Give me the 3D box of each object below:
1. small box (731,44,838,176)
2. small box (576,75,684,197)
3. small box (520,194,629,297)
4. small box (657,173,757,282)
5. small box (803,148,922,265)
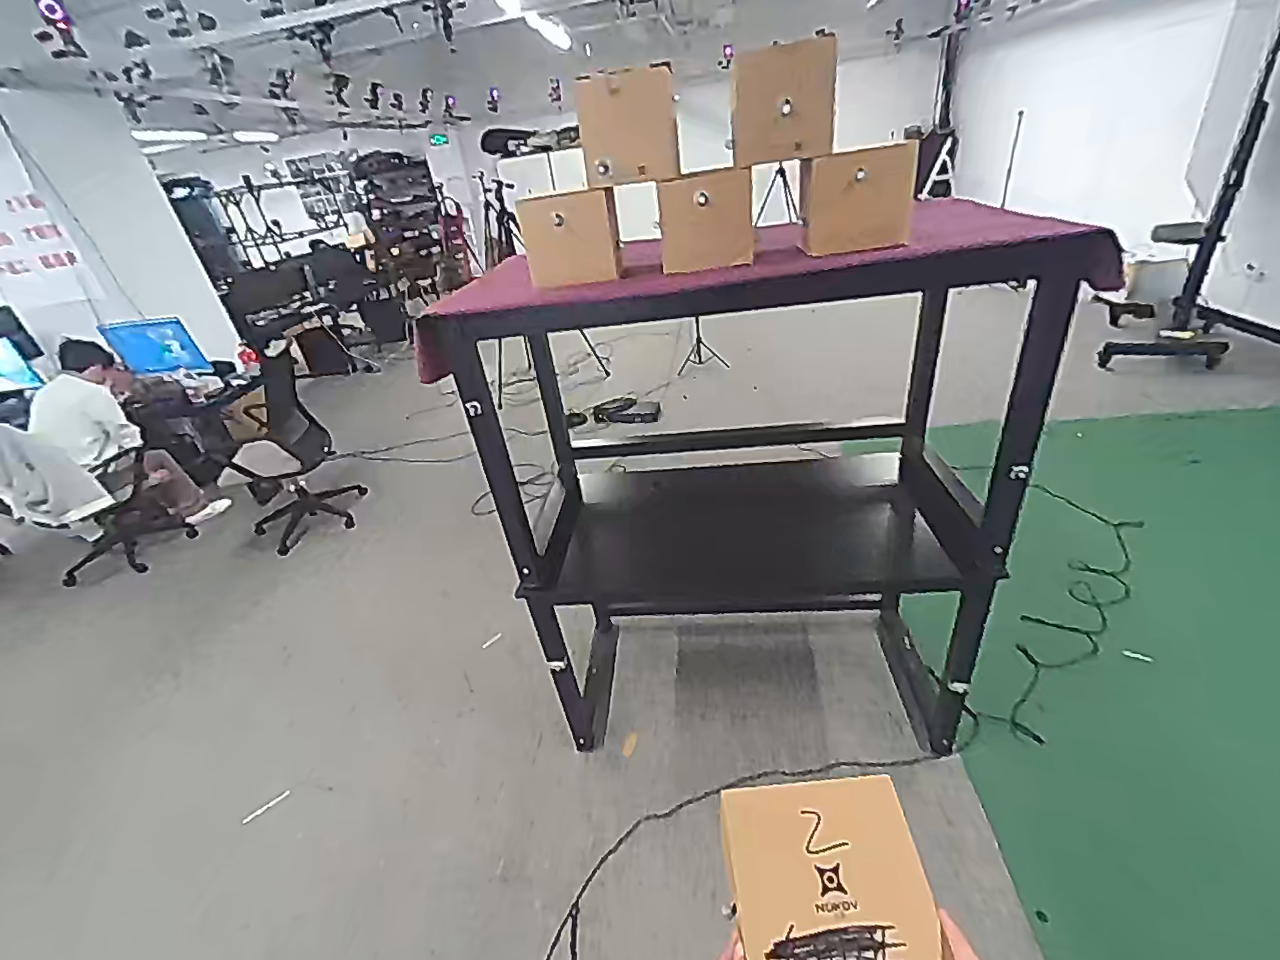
[{"bbox_3d":[0.256,-0.656,0.978,0.168,0.176,0.179,-4,31,9],"label":"small box"},{"bbox_3d":[-0.008,-0.639,1.021,0.168,0.176,0.179,-3,30,10],"label":"small box"},{"bbox_3d":[-0.127,-0.487,1.122,0.179,0.176,0.168,-5,31,7],"label":"small box"},{"bbox_3d":[0.137,-0.500,1.072,0.179,0.176,0.168,-4,31,9],"label":"small box"},{"bbox_3d":[0.411,-0.522,1.032,0.179,0.176,0.168,-5,30,10],"label":"small box"}]
